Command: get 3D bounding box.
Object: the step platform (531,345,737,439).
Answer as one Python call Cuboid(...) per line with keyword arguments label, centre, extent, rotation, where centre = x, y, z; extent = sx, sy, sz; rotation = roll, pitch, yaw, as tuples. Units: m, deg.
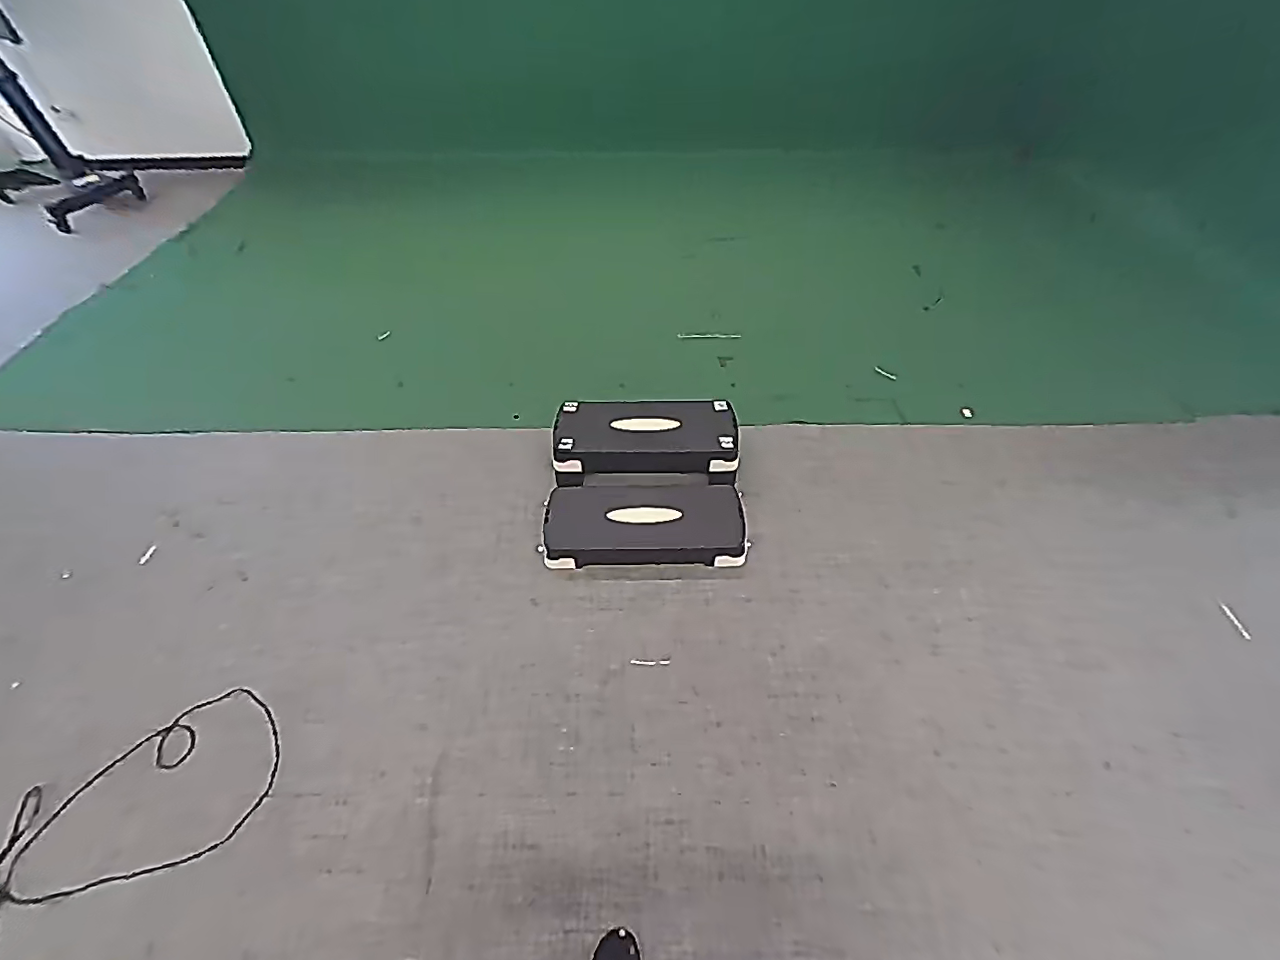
Cuboid(label="step platform", centre=(-0.020, -0.304, 1.874), extent=(0.684, 0.204, 0.286), rotation=(-1, 49, 1))
